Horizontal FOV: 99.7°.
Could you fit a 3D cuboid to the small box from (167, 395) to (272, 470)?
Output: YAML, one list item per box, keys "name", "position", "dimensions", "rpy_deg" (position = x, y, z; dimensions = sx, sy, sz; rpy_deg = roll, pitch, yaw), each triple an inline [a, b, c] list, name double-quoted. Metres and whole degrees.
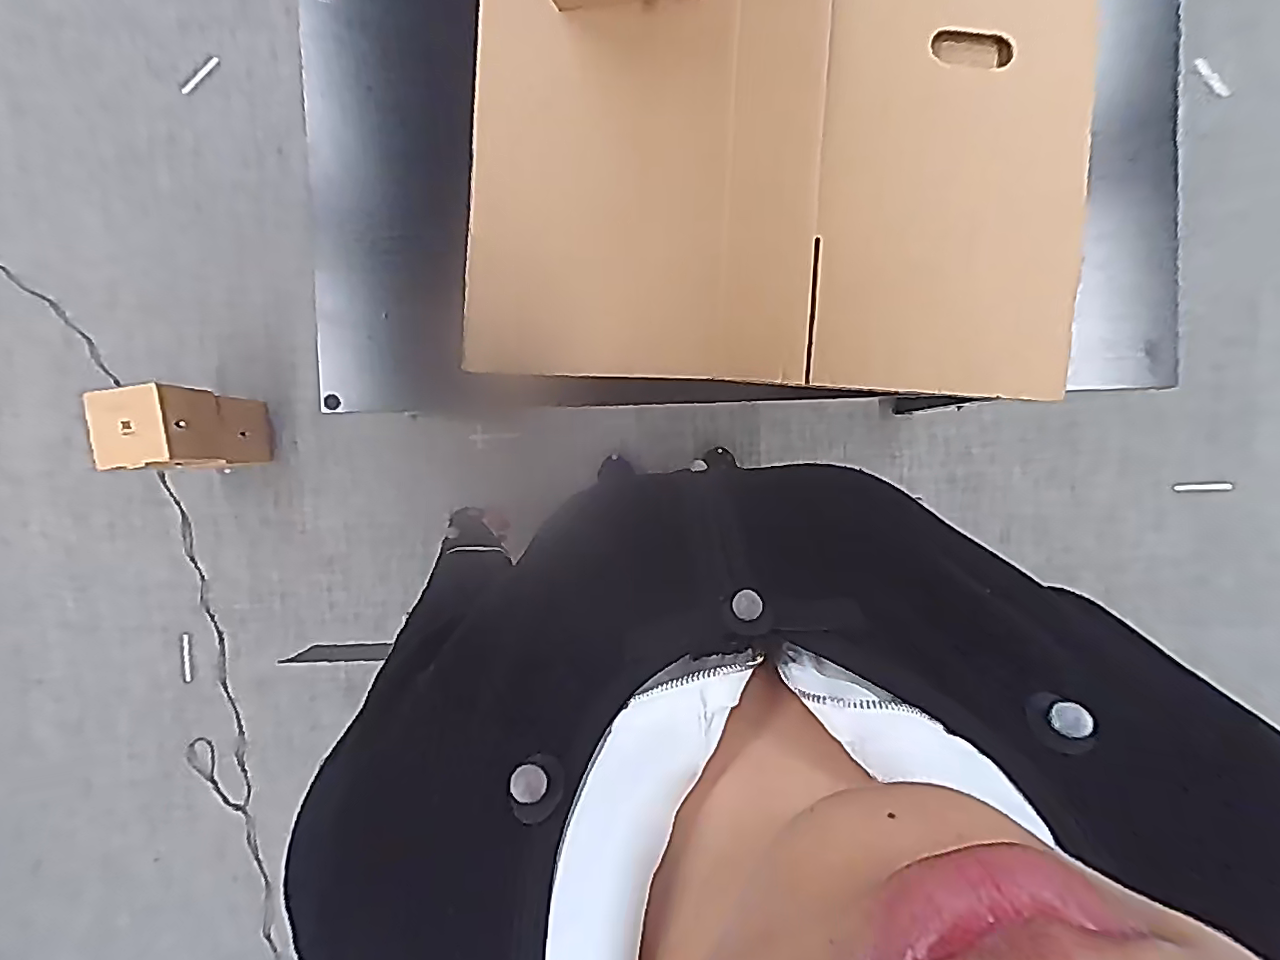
- name: "small box"
  position: [-1.117, -0.121, 1.432]
  dimensions: [0.168, 0.176, 0.179]
  rpy_deg: [-6, 93, 1]

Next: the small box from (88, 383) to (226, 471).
- name: "small box"
  position: [-1.119, -0.121, 1.269]
  dimensions: [0.168, 0.176, 0.179]
  rpy_deg: [-9, 92, 0]

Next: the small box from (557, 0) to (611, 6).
- name: "small box"
  position: [-0.023, -0.604, 0.511]
  dimensions: [0.179, 0.176, 0.168]
  rpy_deg: [5, 92, 13]
